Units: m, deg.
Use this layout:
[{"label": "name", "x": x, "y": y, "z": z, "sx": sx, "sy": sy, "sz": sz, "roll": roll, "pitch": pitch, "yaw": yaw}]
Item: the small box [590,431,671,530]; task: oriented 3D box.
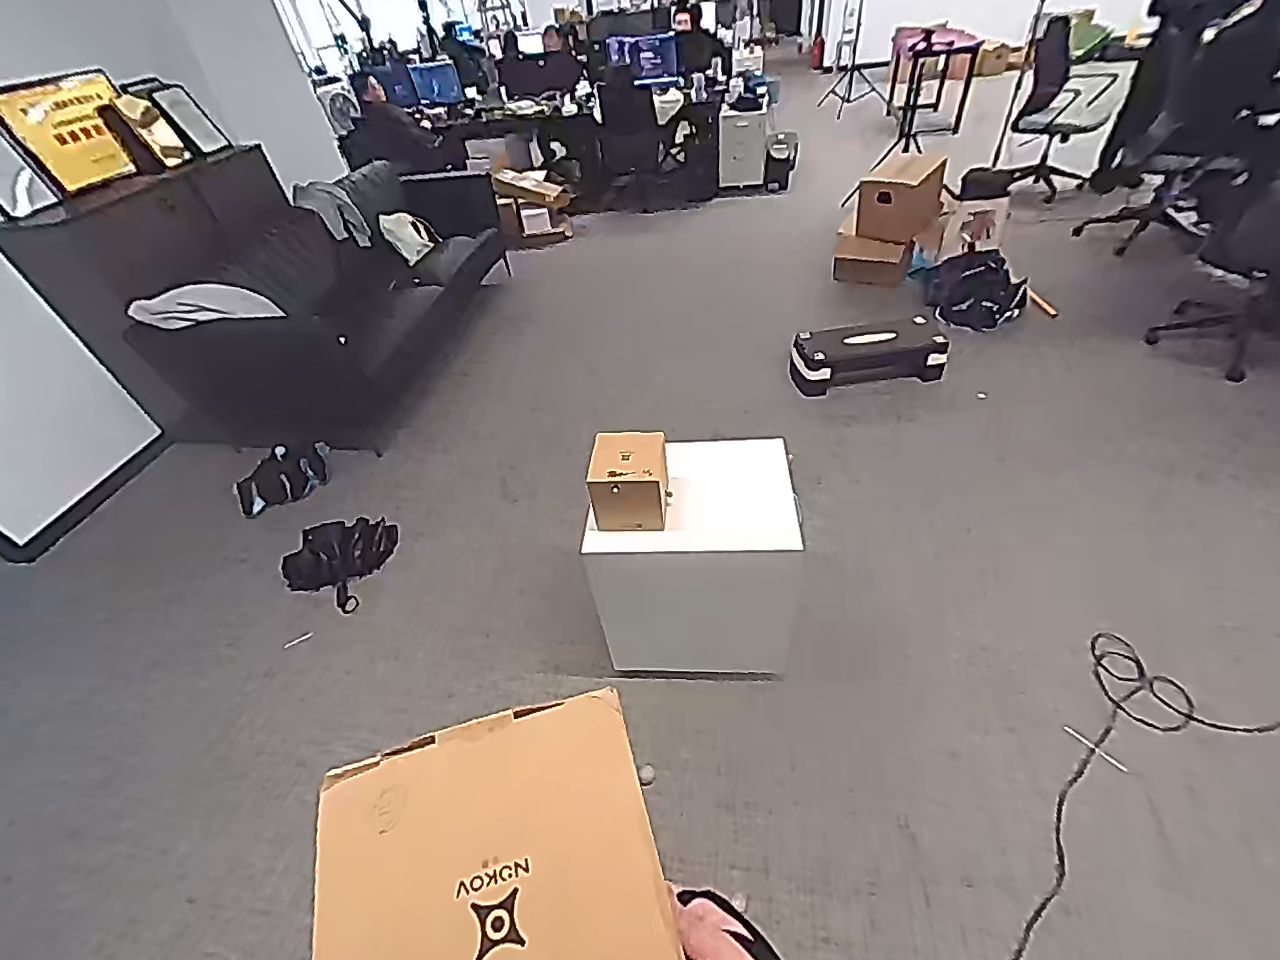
[{"label": "small box", "x": -0.014, "y": 0.000, "z": 1.304, "sx": 0.168, "sy": 0.176, "sz": 0.179, "roll": -1, "pitch": 42, "yaw": 9}]

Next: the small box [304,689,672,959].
[{"label": "small box", "x": -0.078, "y": 0.255, "z": 0.328, "sx": 0.168, "sy": 0.176, "sz": 0.179, "roll": -13, "pitch": 57, "yaw": -10}]
